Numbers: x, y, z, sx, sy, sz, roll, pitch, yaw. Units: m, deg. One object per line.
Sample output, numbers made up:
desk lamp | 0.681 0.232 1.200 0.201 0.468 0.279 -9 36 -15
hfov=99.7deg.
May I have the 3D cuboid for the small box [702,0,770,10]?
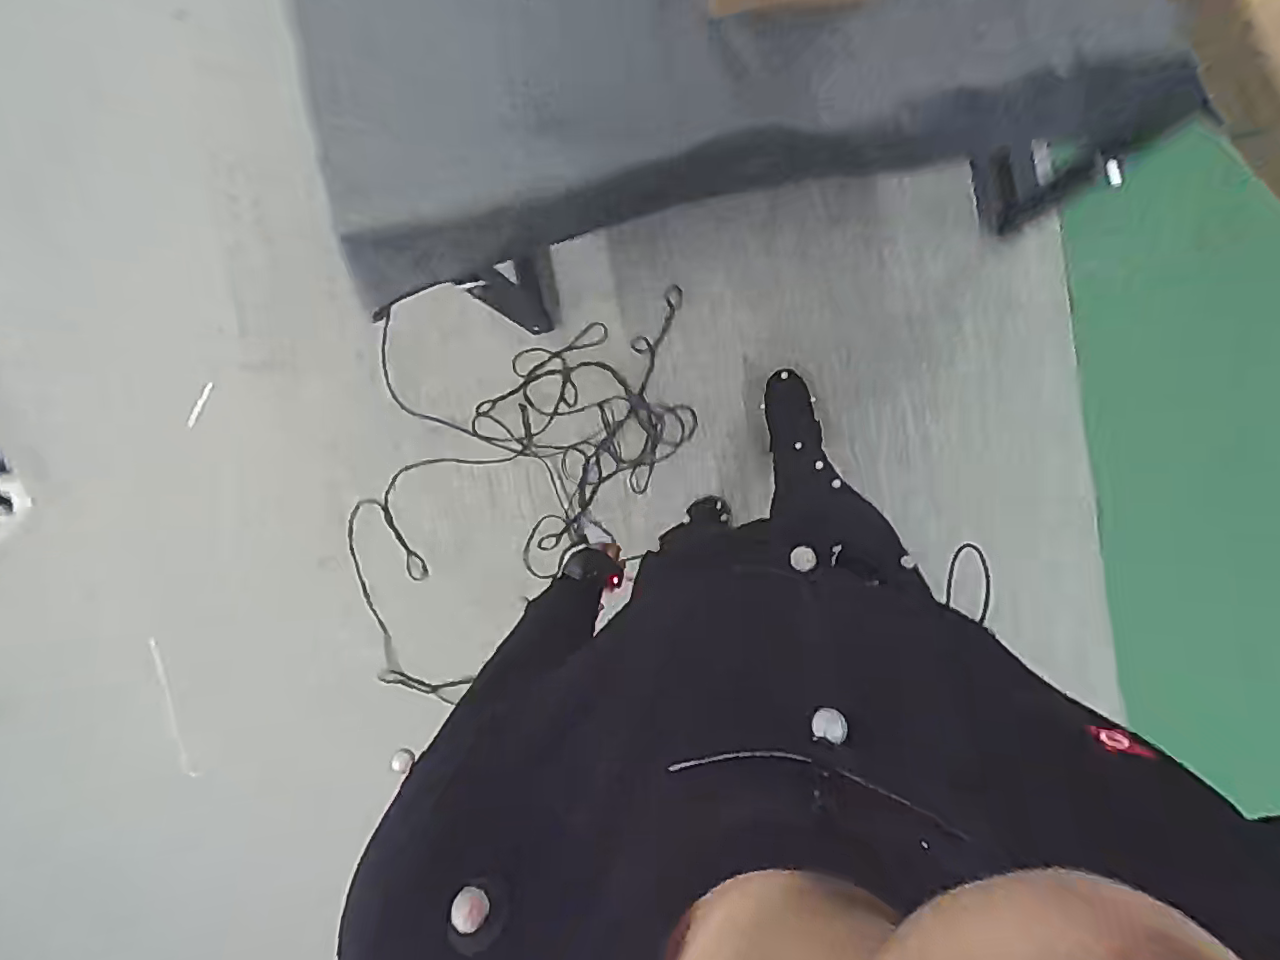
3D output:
small box | 0.139 -0.588 0.494 0.179 0.176 0.168 -3 92 7
